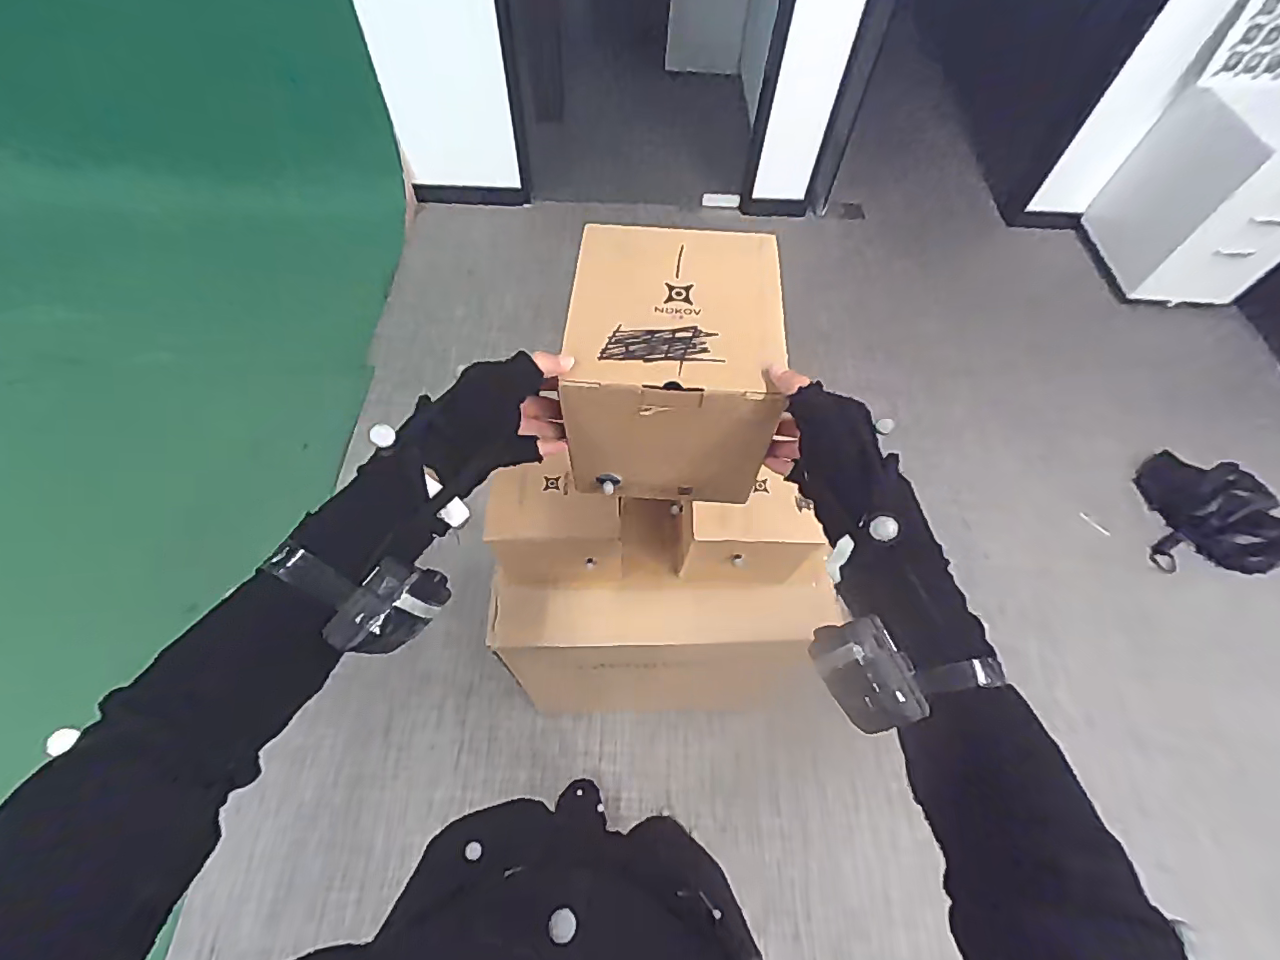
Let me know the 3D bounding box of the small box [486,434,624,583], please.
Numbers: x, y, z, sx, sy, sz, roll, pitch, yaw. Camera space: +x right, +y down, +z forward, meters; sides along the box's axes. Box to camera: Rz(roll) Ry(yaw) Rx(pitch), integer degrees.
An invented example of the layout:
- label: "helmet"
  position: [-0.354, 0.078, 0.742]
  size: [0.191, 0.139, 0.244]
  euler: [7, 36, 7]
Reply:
- label: "small box"
  position: [-0.114, 0.047, 0.792]
  size: [0.179, 0.176, 0.168]
  euler: [-1, 62, -3]

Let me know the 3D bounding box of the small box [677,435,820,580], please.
- label: "small box"
  position: [0.147, 0.047, 0.806]
  size: [0.179, 0.176, 0.168]
  euler: [1, 63, -2]
